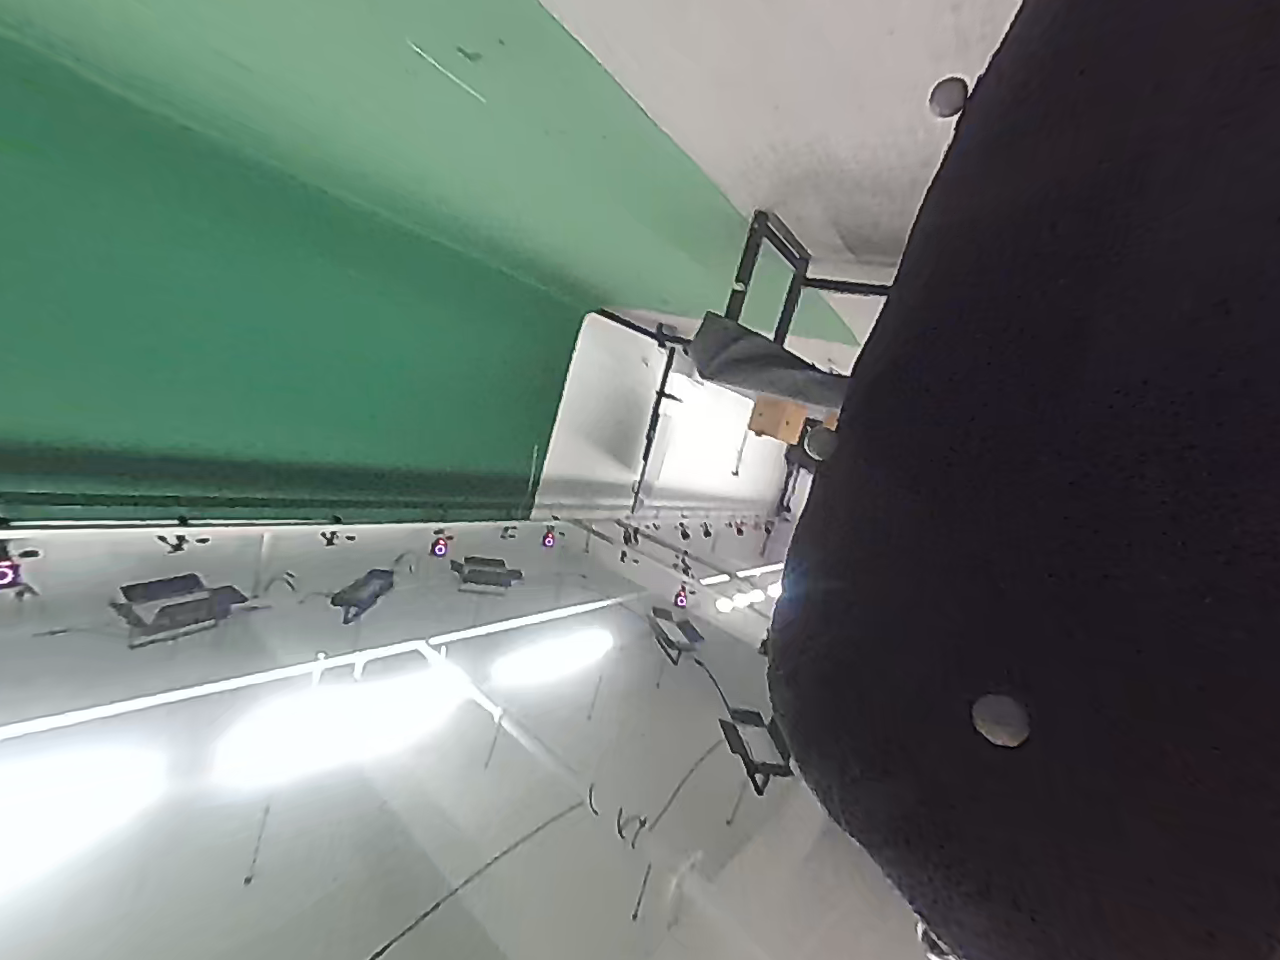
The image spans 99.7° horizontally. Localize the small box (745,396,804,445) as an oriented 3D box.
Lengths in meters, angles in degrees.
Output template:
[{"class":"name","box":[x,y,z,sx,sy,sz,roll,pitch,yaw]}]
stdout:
[{"class":"small box","box":[0.604,-0.269,2.422,0.179,0.176,0.168,7,-167,-44]}]
